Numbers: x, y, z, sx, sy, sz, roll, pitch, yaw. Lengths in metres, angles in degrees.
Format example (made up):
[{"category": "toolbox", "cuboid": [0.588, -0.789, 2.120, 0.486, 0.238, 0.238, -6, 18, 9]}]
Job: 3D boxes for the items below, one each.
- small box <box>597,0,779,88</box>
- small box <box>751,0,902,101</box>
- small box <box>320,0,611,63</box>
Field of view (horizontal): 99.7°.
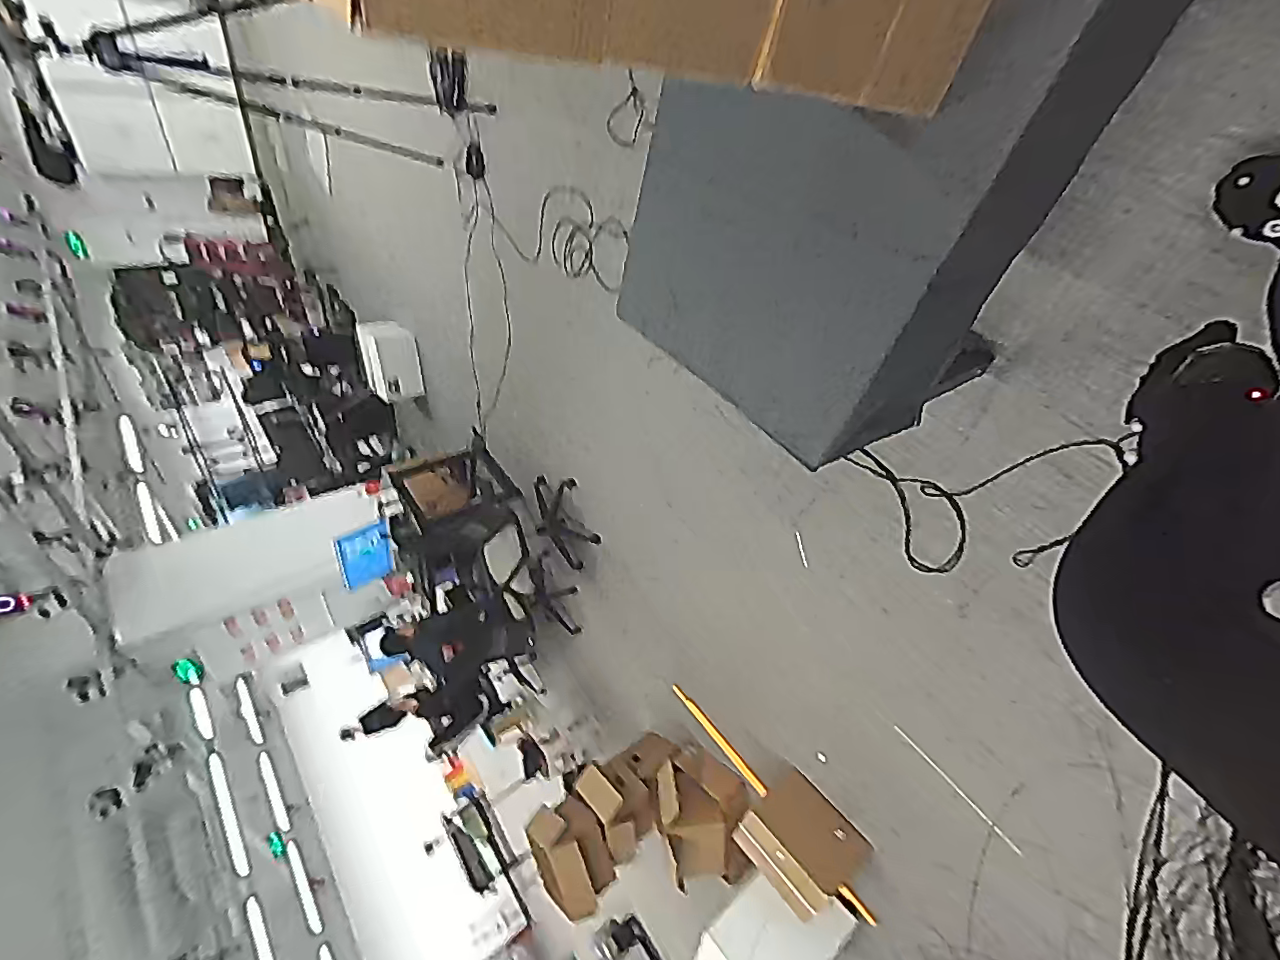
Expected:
[{"category": "small box", "cuboid": [0.013, -0.442, 0.425, 0.168, 0.176, 0.179, 48, 140, 28]}, {"category": "small box", "cuboid": [0.143, -0.489, 0.512, 0.168, 0.176, 0.179, 46, 140, 30]}, {"category": "small box", "cuboid": [-0.118, -0.390, 0.337, 0.168, 0.176, 0.179, 46, 140, 29]}]
